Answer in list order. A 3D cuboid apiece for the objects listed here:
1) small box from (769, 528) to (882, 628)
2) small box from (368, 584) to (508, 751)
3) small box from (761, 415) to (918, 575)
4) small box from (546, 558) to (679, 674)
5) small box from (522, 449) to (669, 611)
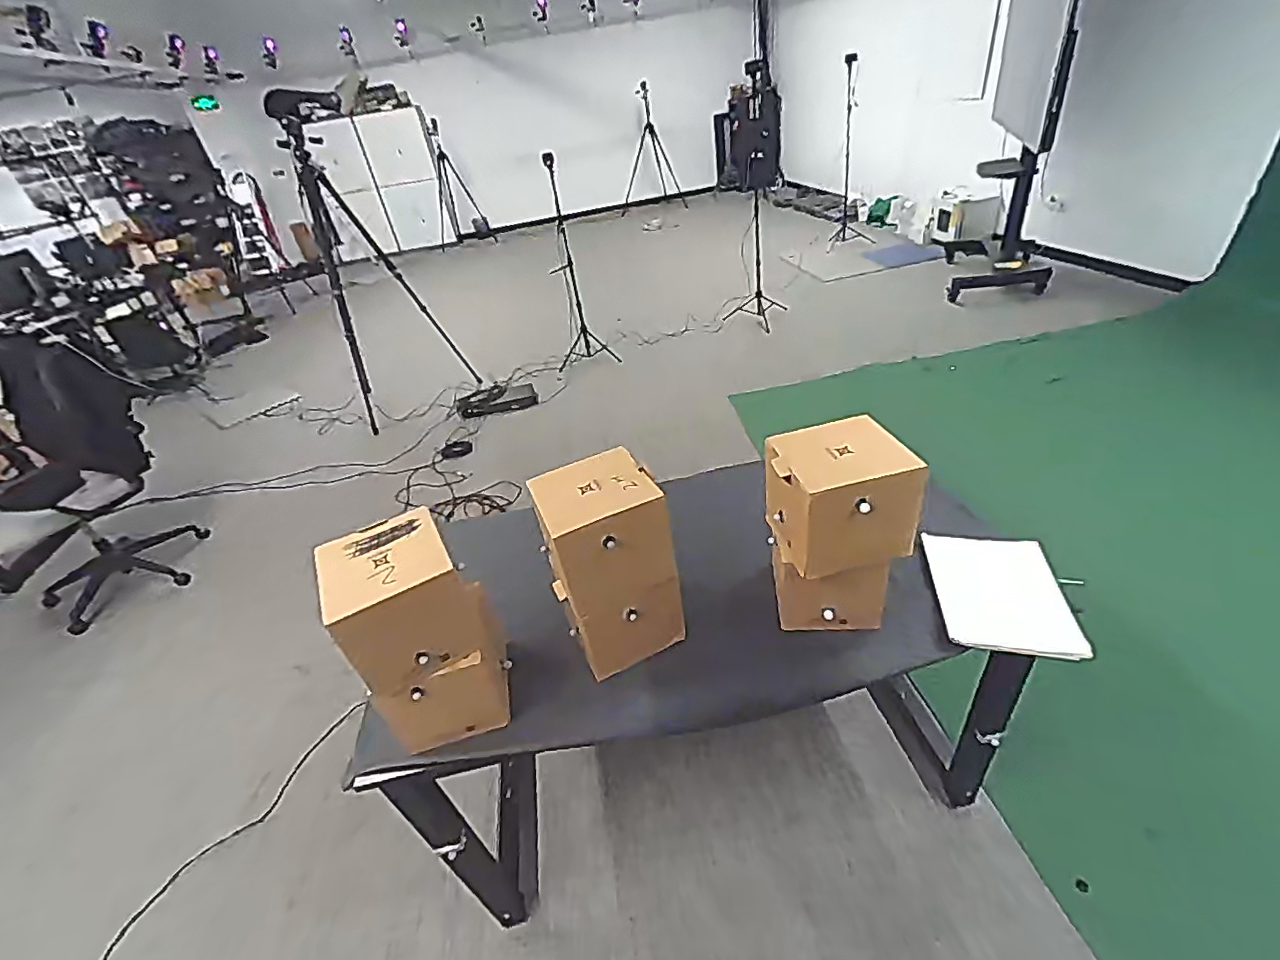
[{"bbox_3d":[0.320,0.142,0.968,0.168,0.176,0.179,-4,35,10],"label":"small box"},{"bbox_3d":[-0.324,0.310,0.901,0.168,0.176,0.179,-15,35,-7],"label":"small box"},{"bbox_3d":[0.302,0.023,0.855,0.179,0.176,0.168,-14,34,-3],"label":"small box"},{"bbox_3d":[-0.046,0.212,0.970,0.179,0.176,0.168,-22,37,-17],"label":"small box"},{"bbox_3d":[-0.069,0.081,0.873,0.179,0.176,0.168,-21,37,-14],"label":"small box"}]
